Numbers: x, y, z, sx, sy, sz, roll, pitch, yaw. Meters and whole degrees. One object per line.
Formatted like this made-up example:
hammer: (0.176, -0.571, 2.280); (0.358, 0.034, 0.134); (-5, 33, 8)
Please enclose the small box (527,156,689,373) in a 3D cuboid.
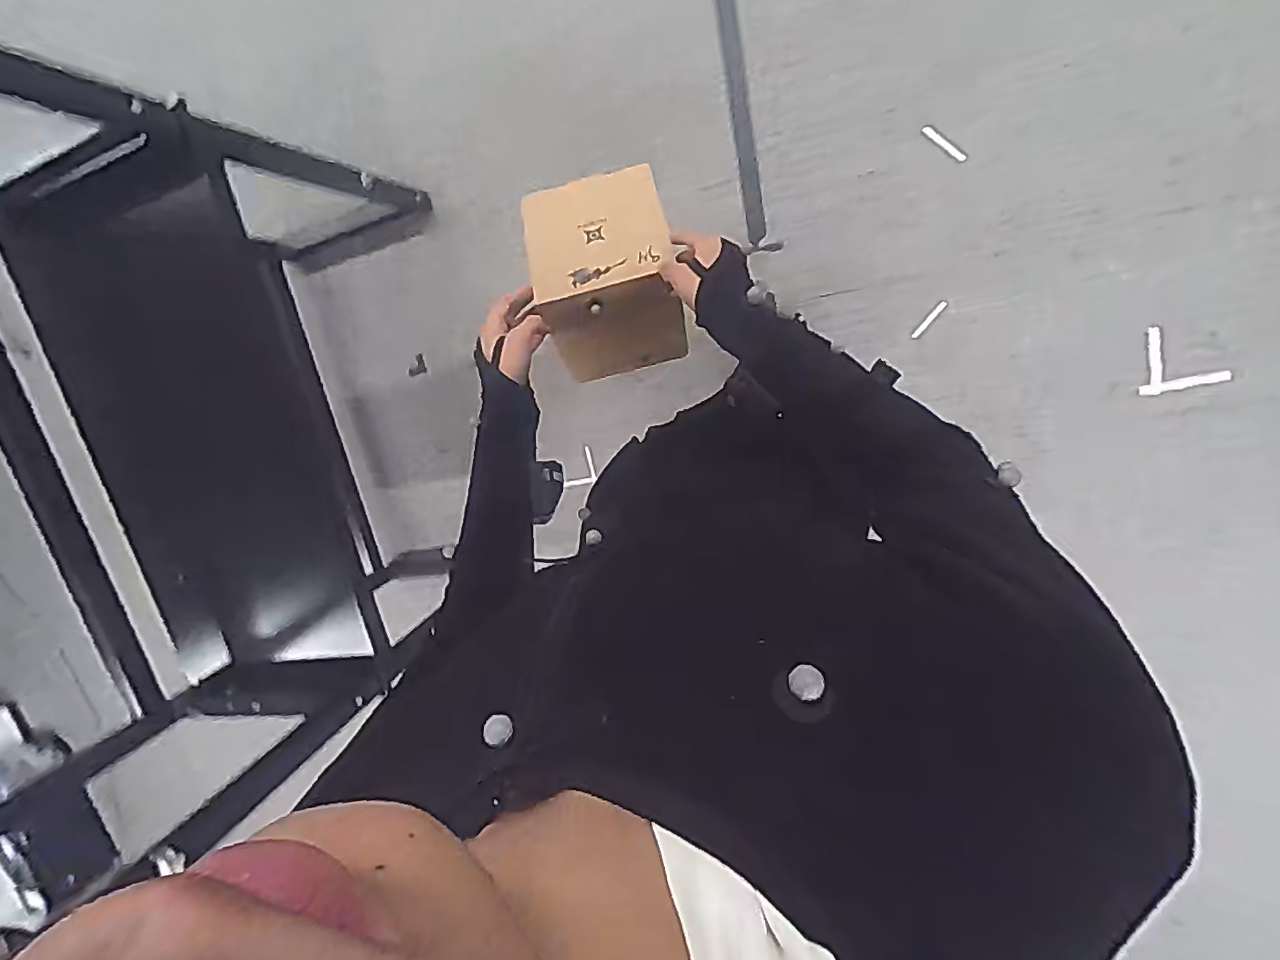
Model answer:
small box: (-0.036, -0.267, 0.697); (0.168, 0.176, 0.179); (-12, 67, 5)
